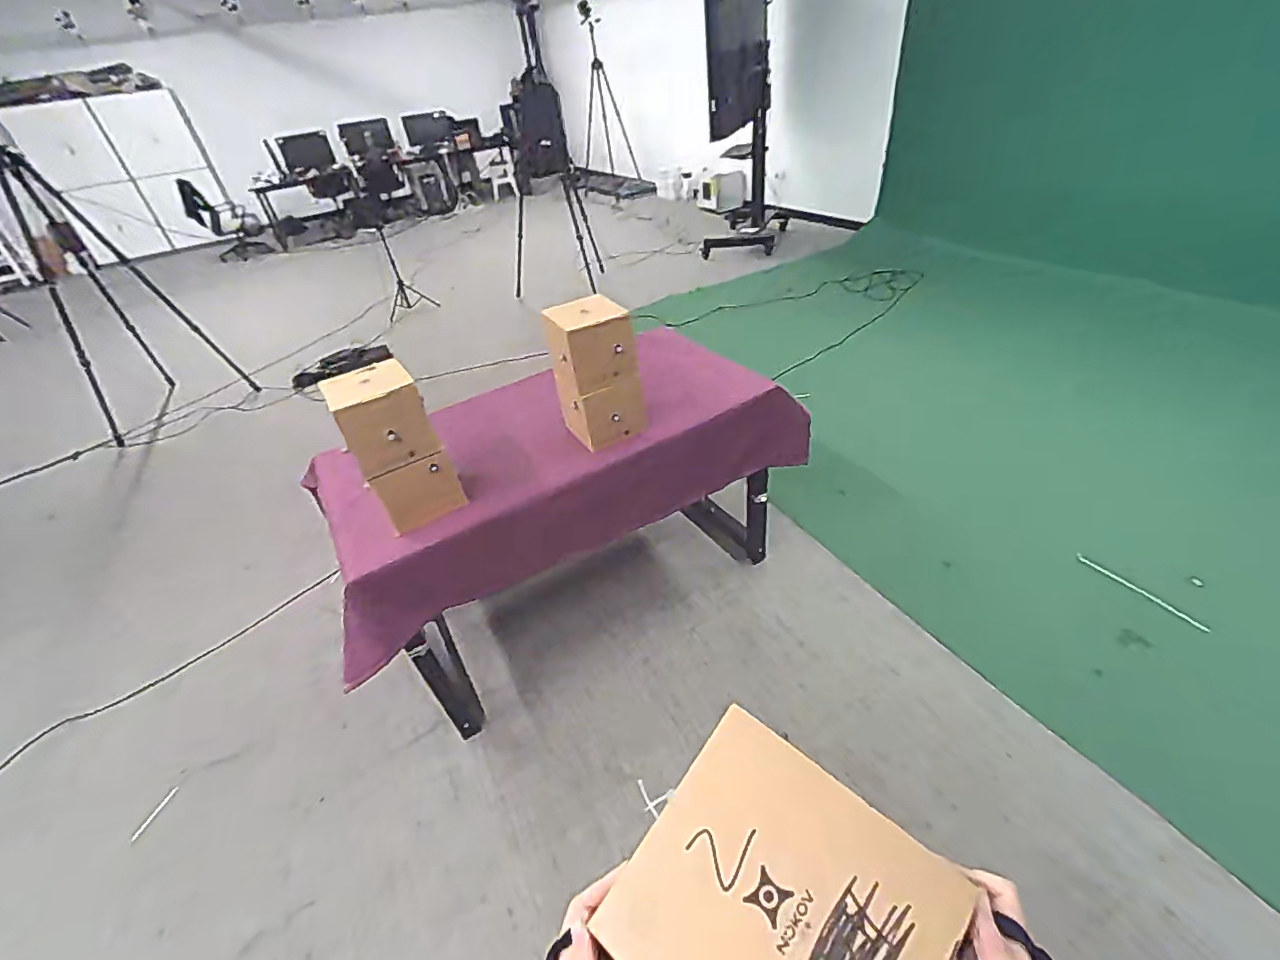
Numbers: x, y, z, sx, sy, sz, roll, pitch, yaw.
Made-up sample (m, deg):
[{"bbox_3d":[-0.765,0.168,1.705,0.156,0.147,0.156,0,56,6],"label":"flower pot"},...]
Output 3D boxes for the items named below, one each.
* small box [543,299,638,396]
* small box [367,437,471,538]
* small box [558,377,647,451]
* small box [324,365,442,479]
[{"bbox_3d":[-0.119,-0.327,1.343,0.168,0.176,0.179,-23,39,-18],"label":"small box"},{"bbox_3d":[-0.525,0.006,1.272,0.179,0.176,0.168,-27,40,-22],"label":"small box"},{"bbox_3d":[-0.096,-0.197,1.439,0.168,0.176,0.179,-25,40,-19],"label":"small box"},{"bbox_3d":[-0.552,-0.123,1.173,0.168,0.176,0.179,-26,41,-23],"label":"small box"}]
